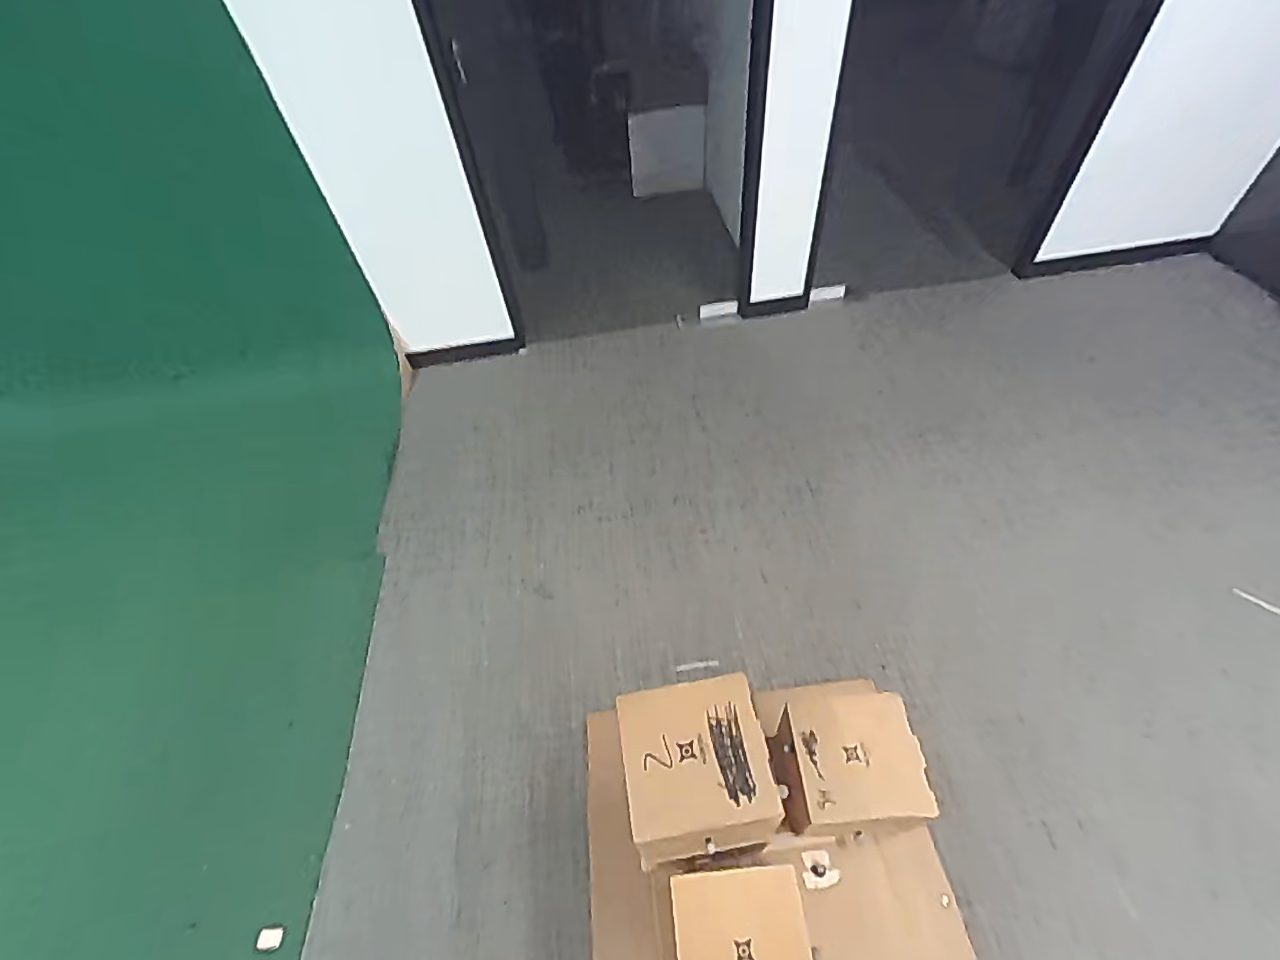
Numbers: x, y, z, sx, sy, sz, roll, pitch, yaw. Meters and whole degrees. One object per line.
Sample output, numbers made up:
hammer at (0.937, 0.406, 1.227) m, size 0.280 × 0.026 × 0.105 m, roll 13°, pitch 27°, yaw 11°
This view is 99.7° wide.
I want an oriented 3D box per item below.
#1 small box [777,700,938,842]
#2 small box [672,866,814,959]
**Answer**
small box at (0.322, 0.455, 0.842) m, size 0.179 × 0.176 × 0.168 m, roll -6°, pitch 50°, yaw 4°
small box at (0.132, 0.631, 0.715) m, size 0.168 × 0.176 × 0.179 m, roll -6°, pitch 51°, yaw 0°
